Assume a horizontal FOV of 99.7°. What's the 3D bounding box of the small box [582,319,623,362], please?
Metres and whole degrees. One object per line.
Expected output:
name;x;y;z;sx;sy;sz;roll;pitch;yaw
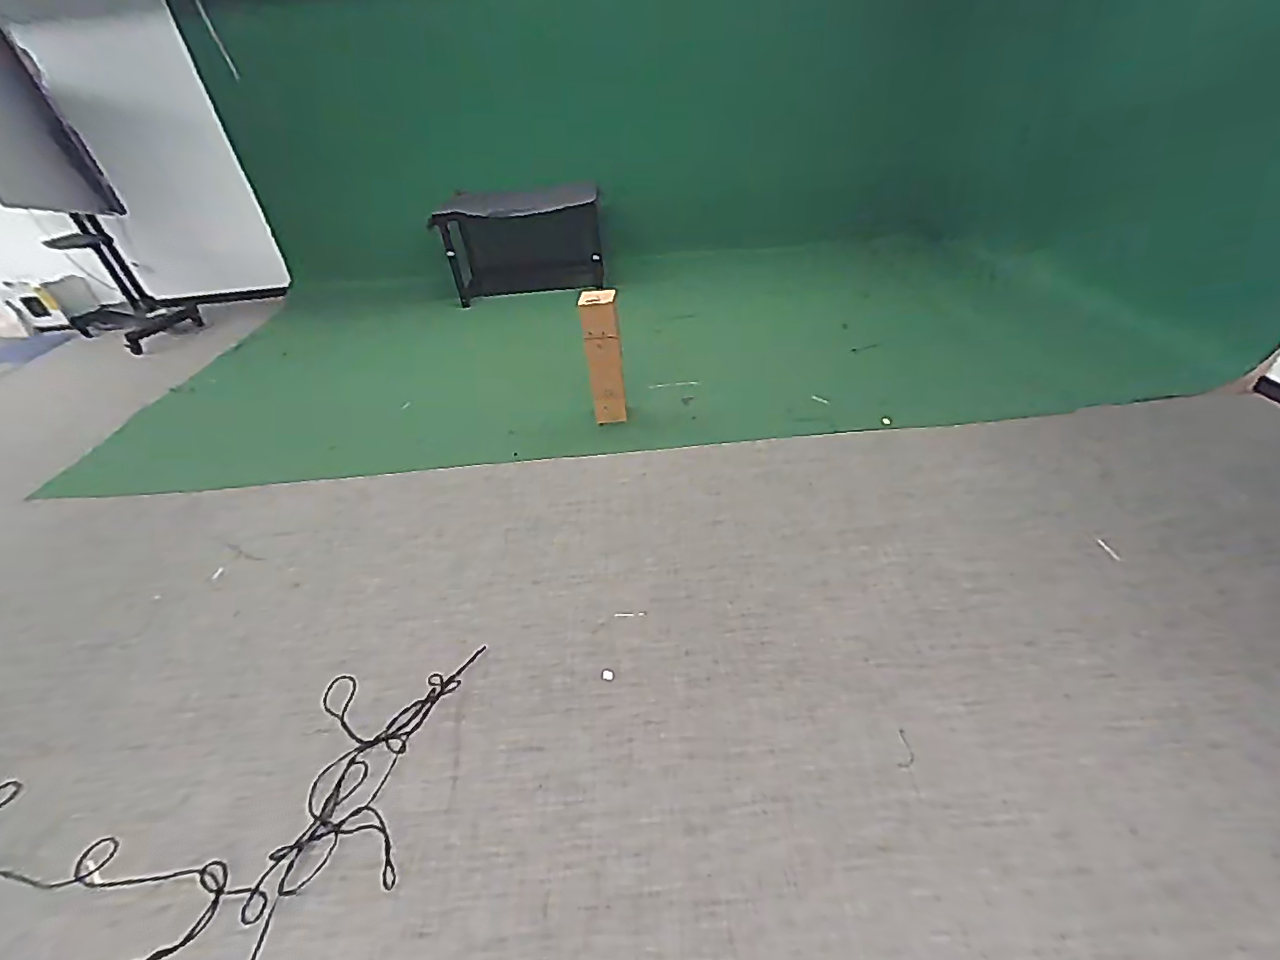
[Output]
small box;-0.185;-0.701;2.710;0.179;0.176;0.168;-3;39;4

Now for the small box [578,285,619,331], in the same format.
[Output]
small box;-0.194;-0.823;2.599;0.168;0.176;0.179;-2;38;6

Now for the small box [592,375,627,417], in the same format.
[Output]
small box;-0.161;-0.448;2.919;0.168;0.176;0.179;-5;38;2
